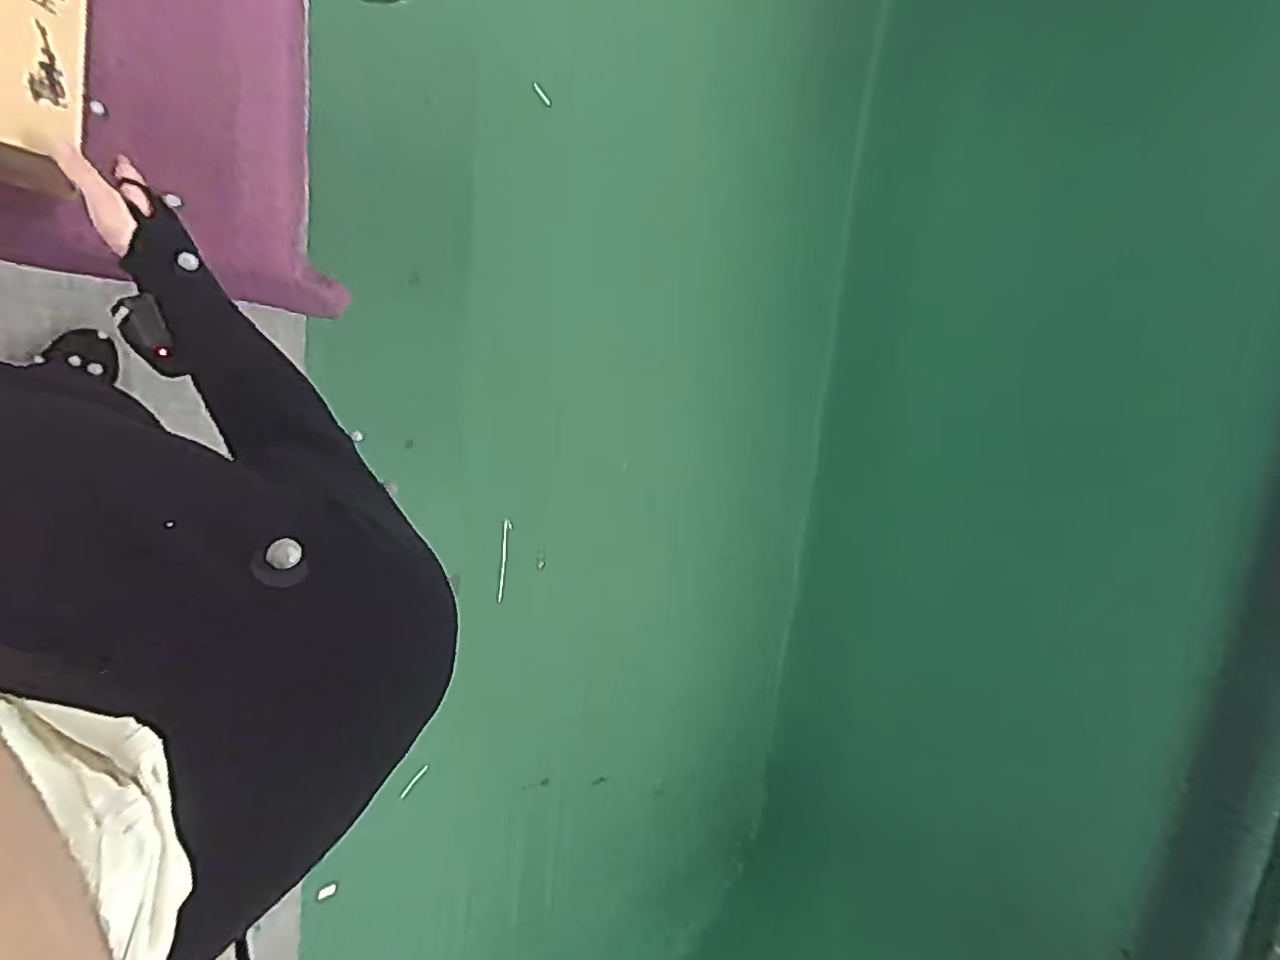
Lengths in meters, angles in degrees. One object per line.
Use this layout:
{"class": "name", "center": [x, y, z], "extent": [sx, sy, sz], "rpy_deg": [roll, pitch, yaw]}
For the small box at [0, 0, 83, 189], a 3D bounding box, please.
{"class": "small box", "center": [-0.630, -0.389, 0.483], "extent": [0.179, 0.176, 0.168], "rpy_deg": [4, 96, -47]}
